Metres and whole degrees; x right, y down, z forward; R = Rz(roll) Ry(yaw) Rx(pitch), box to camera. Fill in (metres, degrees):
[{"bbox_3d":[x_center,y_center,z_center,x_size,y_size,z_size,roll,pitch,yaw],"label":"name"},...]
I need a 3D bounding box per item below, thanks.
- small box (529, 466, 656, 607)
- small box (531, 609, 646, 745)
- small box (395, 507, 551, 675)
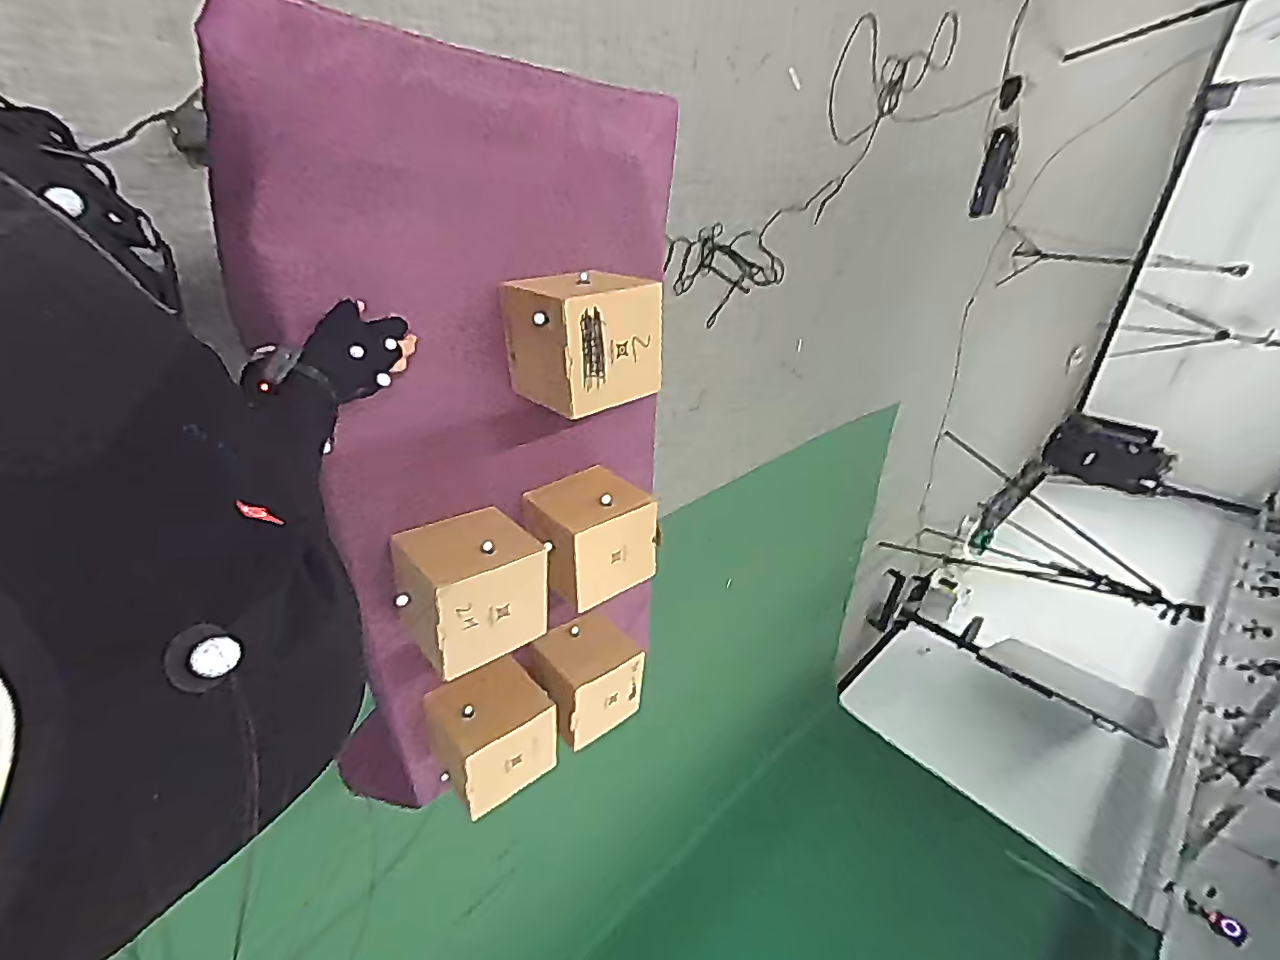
[{"bbox_3d":[-0.090,0.094,0.986,0.179,0.176,0.168,-23,126,-36],"label":"small box"},{"bbox_3d":[-0.113,0.401,1.131,0.179,0.176,0.168,-15,122,-39],"label":"small box"},{"bbox_3d":[-0.259,0.160,0.847,0.179,0.176,0.168,-17,122,-39],"label":"small box"}]
